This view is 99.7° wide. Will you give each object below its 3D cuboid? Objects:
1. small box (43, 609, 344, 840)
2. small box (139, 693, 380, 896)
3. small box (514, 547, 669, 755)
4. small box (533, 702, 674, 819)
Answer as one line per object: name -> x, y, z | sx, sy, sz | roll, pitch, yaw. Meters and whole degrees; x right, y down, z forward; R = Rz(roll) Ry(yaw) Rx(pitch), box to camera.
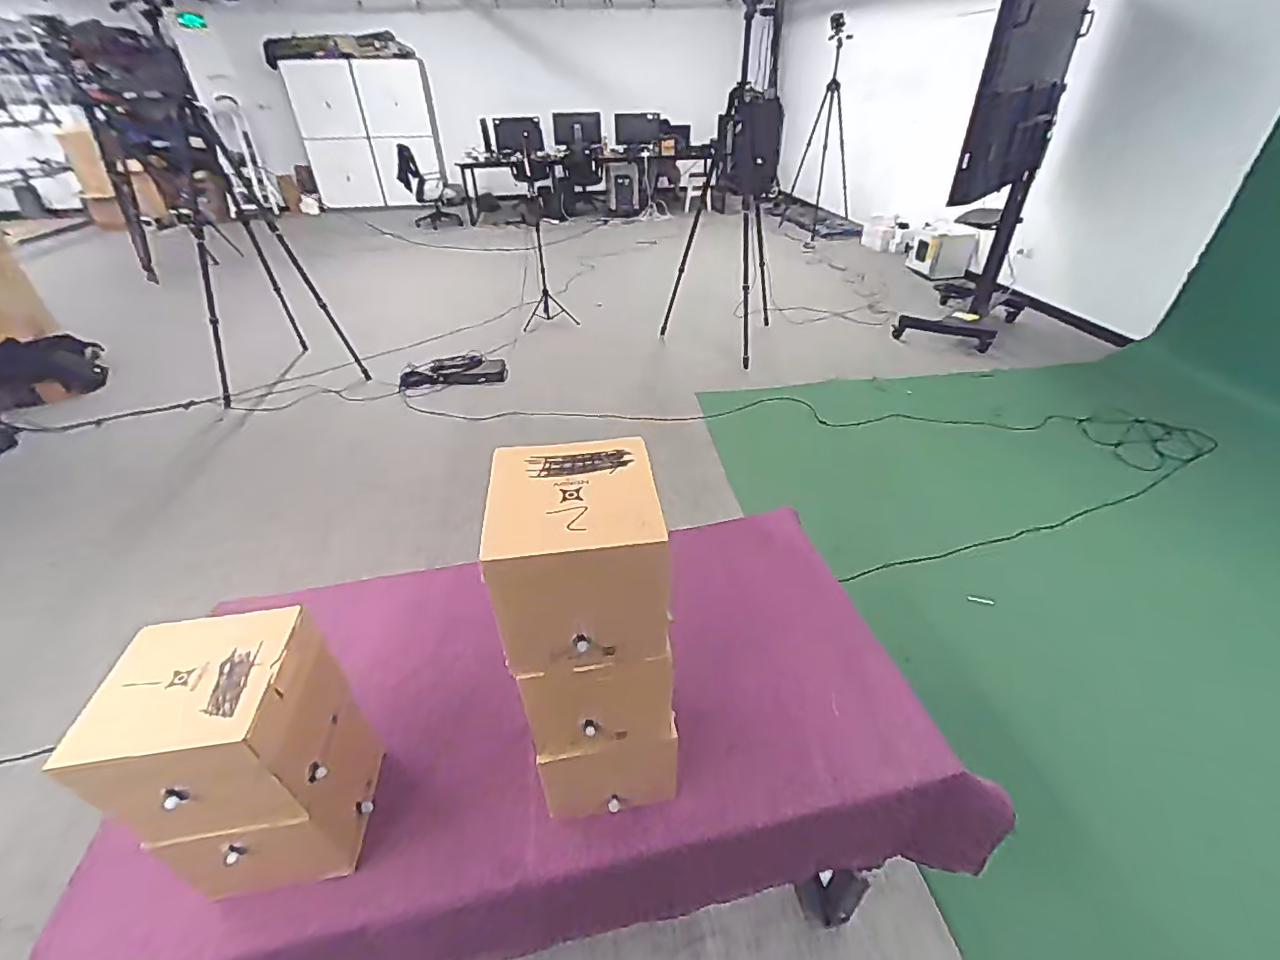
small box -> -0.465, 0.272, 0.608 | 0.179, 0.176, 0.168 | -7, 37, -7
small box -> -0.467, 0.406, 0.702 | 0.179, 0.176, 0.168 | -5, 37, -7
small box -> -0.062, 0.211, 0.681 | 0.168, 0.176, 0.179 | -6, 37, -7
small box -> -0.055, 0.349, 0.769 | 0.179, 0.176, 0.168 | -6, 36, -8
